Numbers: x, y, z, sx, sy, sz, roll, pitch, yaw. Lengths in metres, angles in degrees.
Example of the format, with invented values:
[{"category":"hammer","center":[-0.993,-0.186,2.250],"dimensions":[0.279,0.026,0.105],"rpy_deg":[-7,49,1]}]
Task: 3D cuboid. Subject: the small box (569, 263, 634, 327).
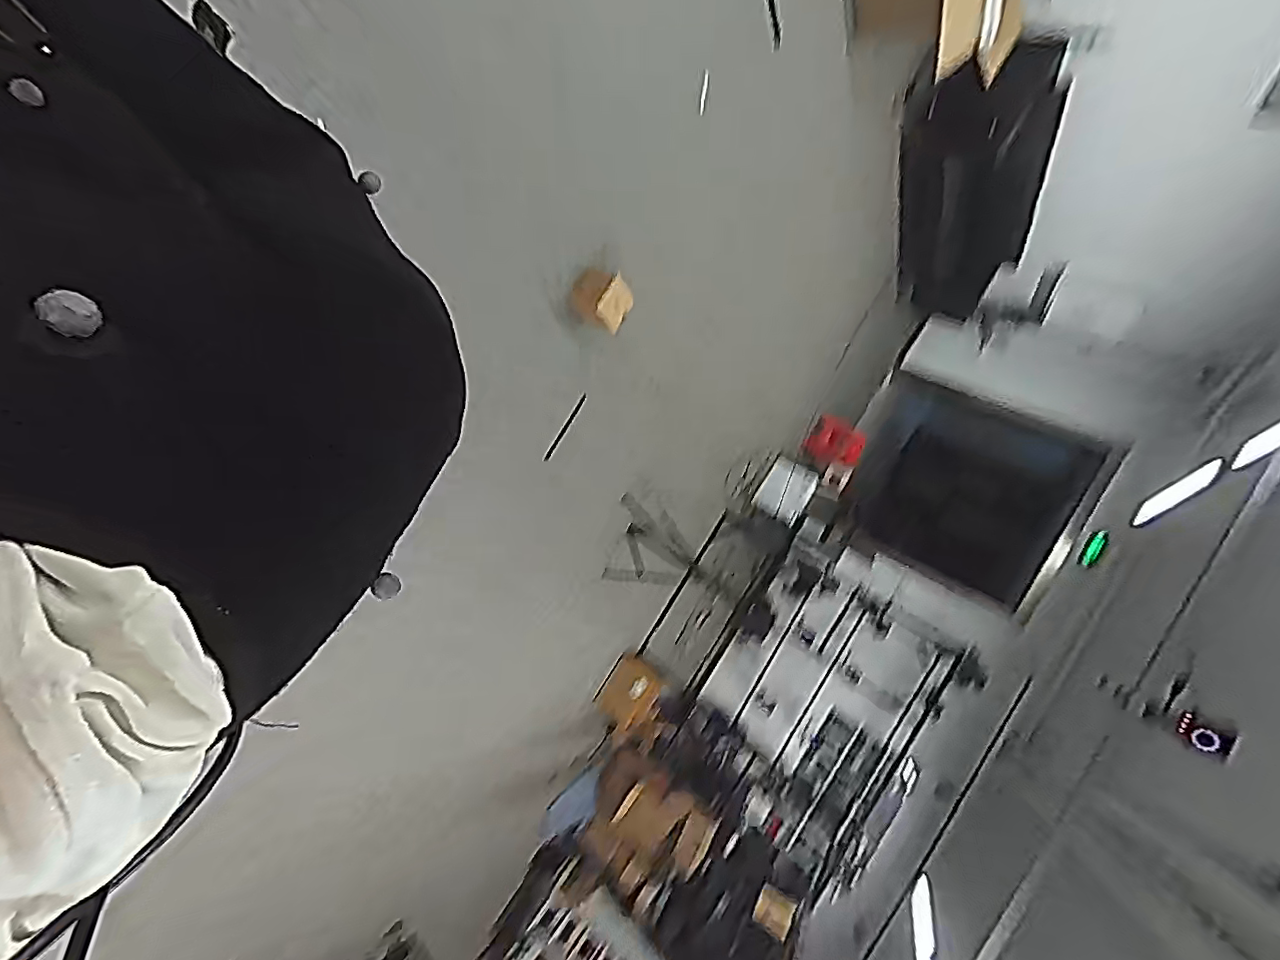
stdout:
[{"category":"small box","center":[-0.158,-0.762,2.215],"dimensions":[0.168,0.176,0.179],"rpy_deg":[-59,151,-5]}]
